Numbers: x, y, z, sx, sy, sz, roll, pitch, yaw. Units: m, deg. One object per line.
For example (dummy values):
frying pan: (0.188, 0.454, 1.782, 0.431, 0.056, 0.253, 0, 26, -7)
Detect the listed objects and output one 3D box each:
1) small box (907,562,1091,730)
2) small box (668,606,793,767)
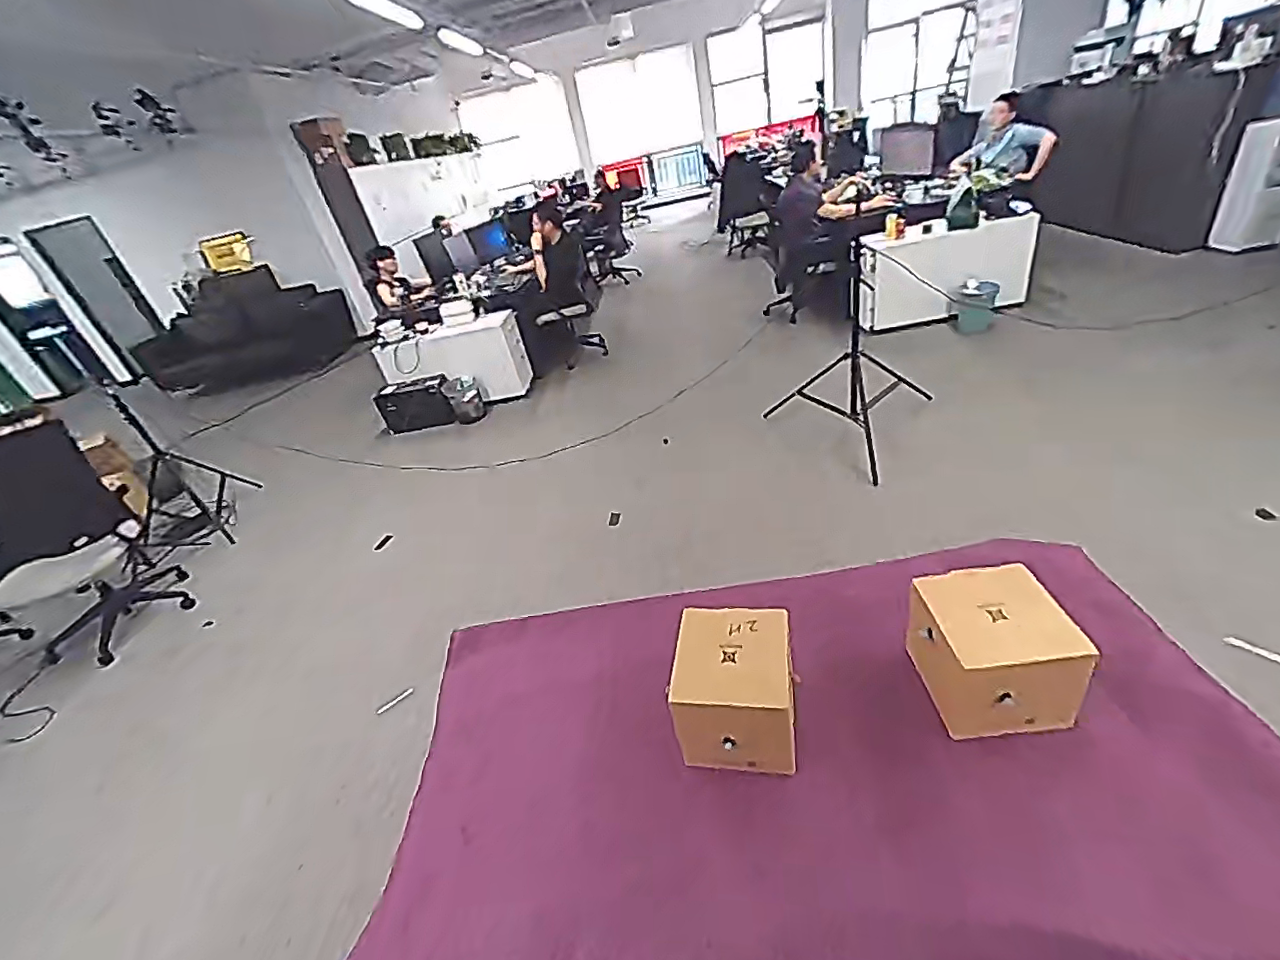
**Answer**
small box: (0.520, 0.253, 0.813, 0.168, 0.176, 0.179, -10, 31, 7)
small box: (0.150, 0.320, 0.847, 0.168, 0.176, 0.179, -2, 34, 16)
